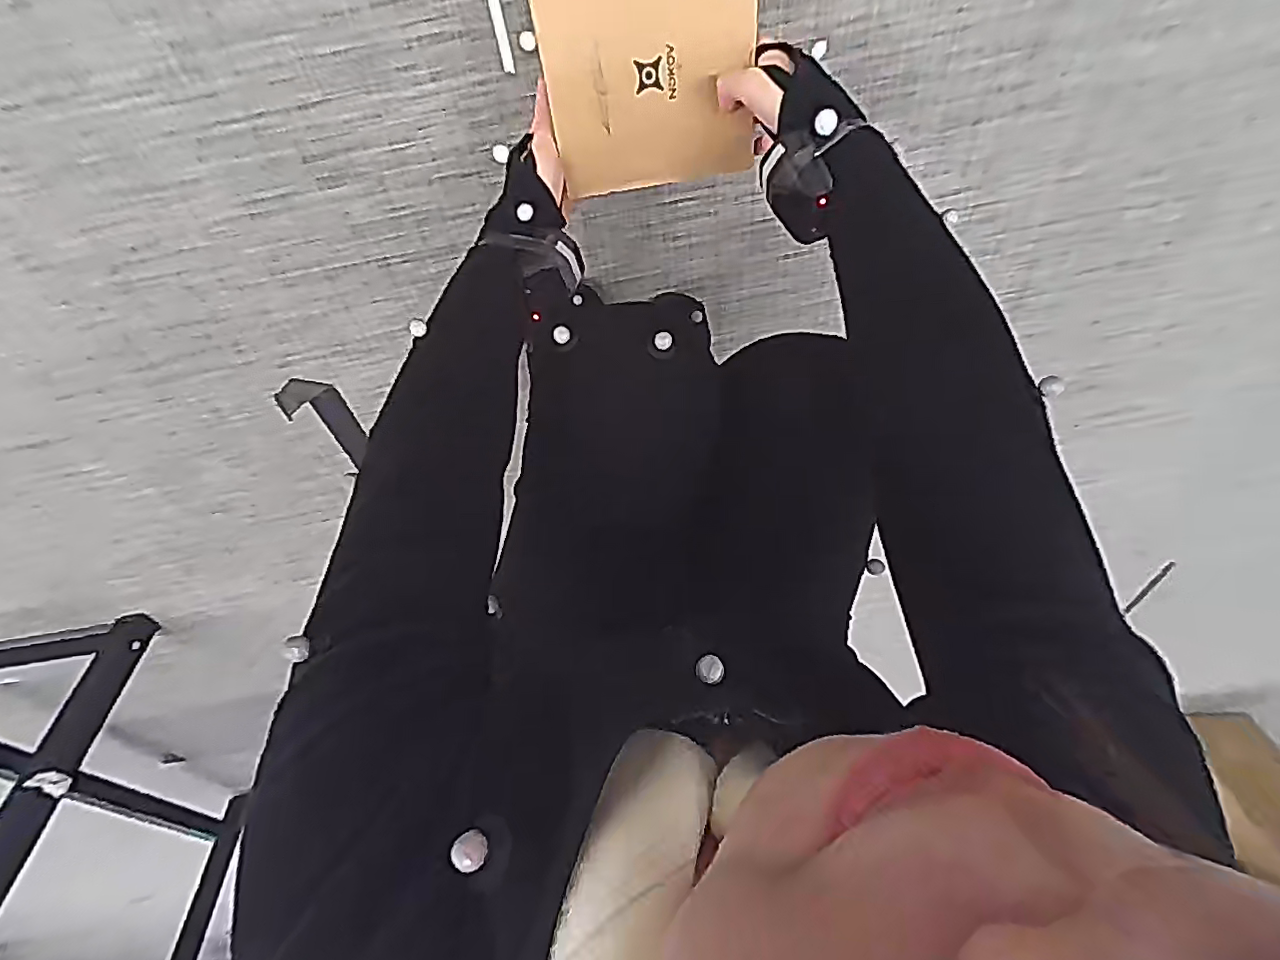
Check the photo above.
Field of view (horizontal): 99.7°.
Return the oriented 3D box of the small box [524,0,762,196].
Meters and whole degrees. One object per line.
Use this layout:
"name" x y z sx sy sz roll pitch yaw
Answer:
"small box" -0.004 -0.377 0.477 0.179 0.176 0.168 -10 137 -2
